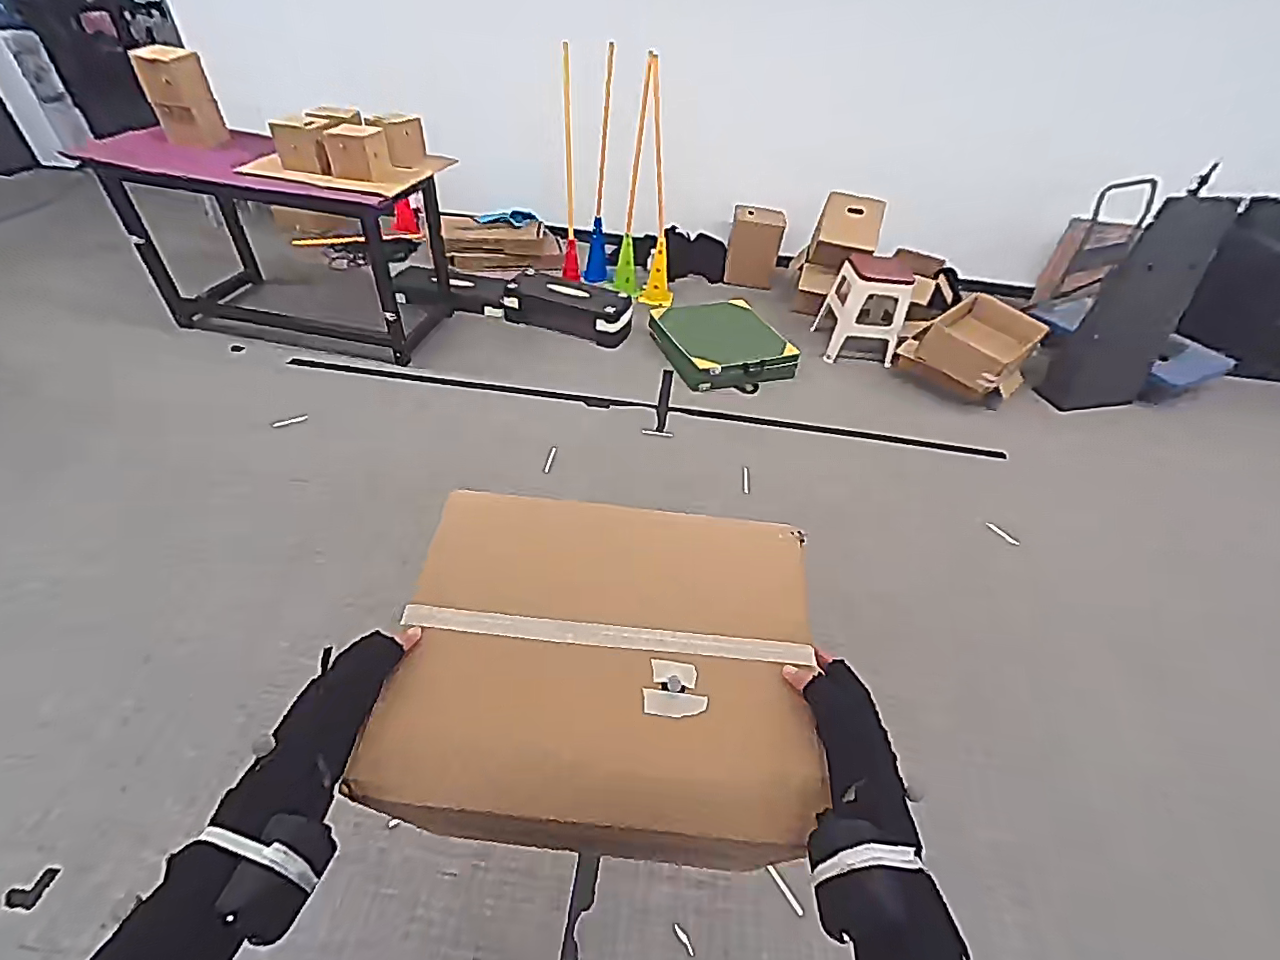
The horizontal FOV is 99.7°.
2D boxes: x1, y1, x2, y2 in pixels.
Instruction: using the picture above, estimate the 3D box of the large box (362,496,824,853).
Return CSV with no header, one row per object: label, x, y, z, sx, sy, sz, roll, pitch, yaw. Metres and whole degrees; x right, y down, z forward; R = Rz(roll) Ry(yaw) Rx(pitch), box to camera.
large box,-0.040,0.247,0.663,0.408,0.320,0.320,6,53,0
